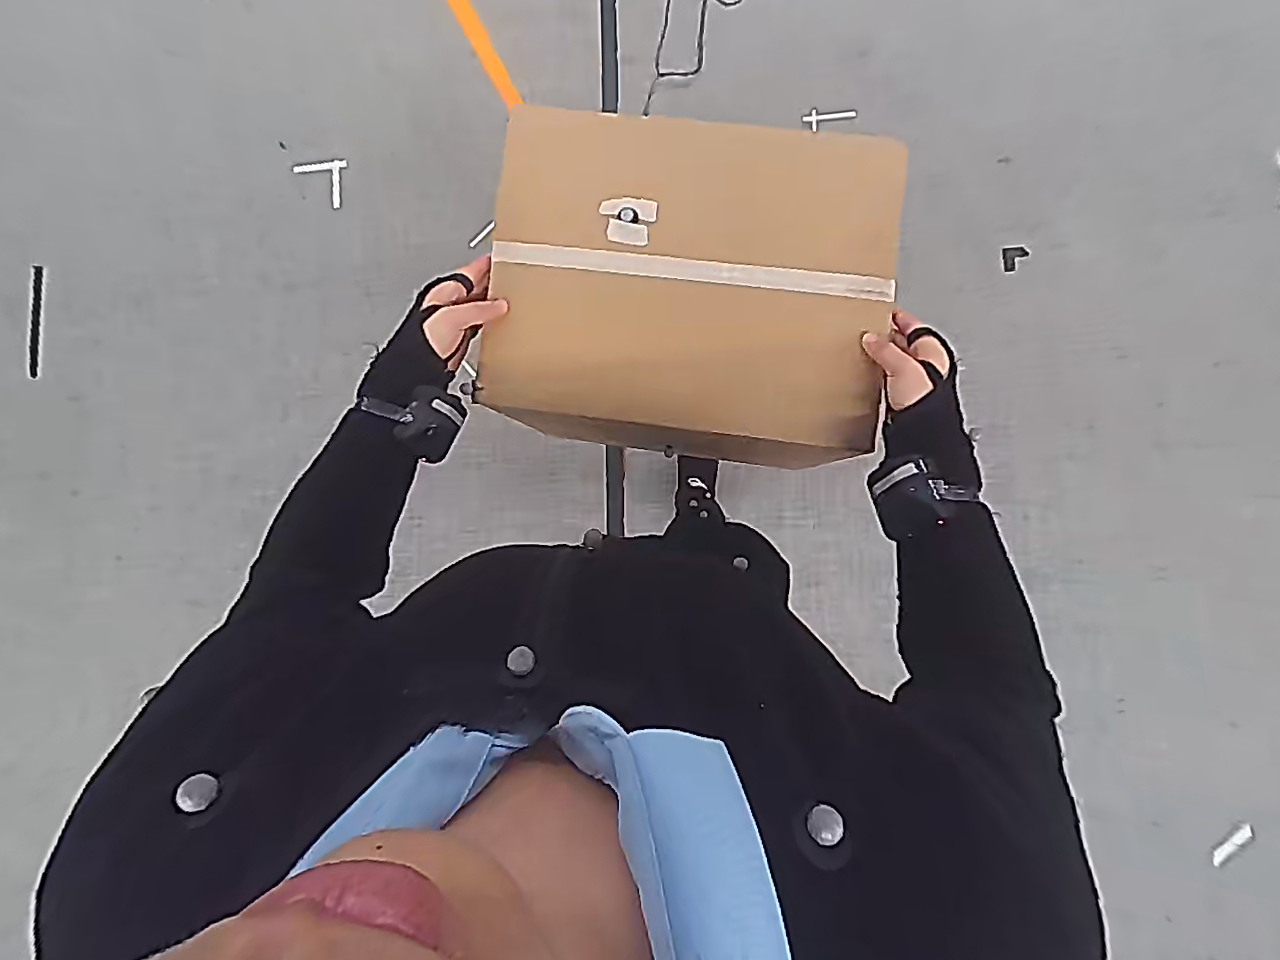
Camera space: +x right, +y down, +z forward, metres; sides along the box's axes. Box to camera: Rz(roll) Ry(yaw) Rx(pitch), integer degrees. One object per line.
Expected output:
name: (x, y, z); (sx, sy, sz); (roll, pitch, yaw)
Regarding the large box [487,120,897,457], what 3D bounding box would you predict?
large box: (0.062, -0.208, 0.707); (0.408, 0.320, 0.320); (7, 87, 4)
